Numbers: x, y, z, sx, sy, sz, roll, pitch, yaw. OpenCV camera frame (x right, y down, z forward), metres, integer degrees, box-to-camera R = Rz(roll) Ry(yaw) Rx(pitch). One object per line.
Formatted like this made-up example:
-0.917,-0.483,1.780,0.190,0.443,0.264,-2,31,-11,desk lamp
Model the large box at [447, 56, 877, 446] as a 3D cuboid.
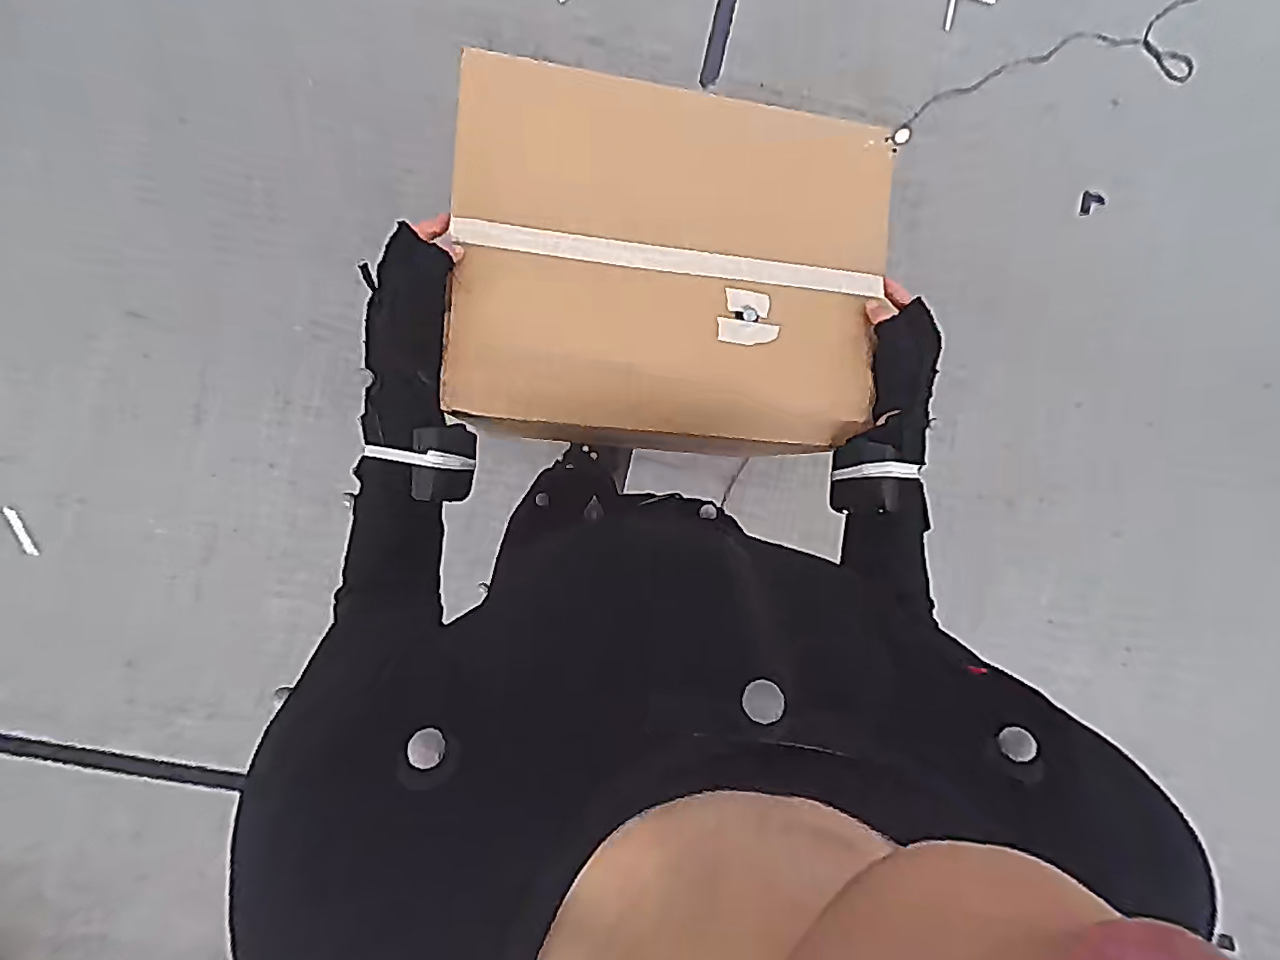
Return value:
0.006,-0.212,0.652,0.408,0.320,0.320,4,92,-10,large box
